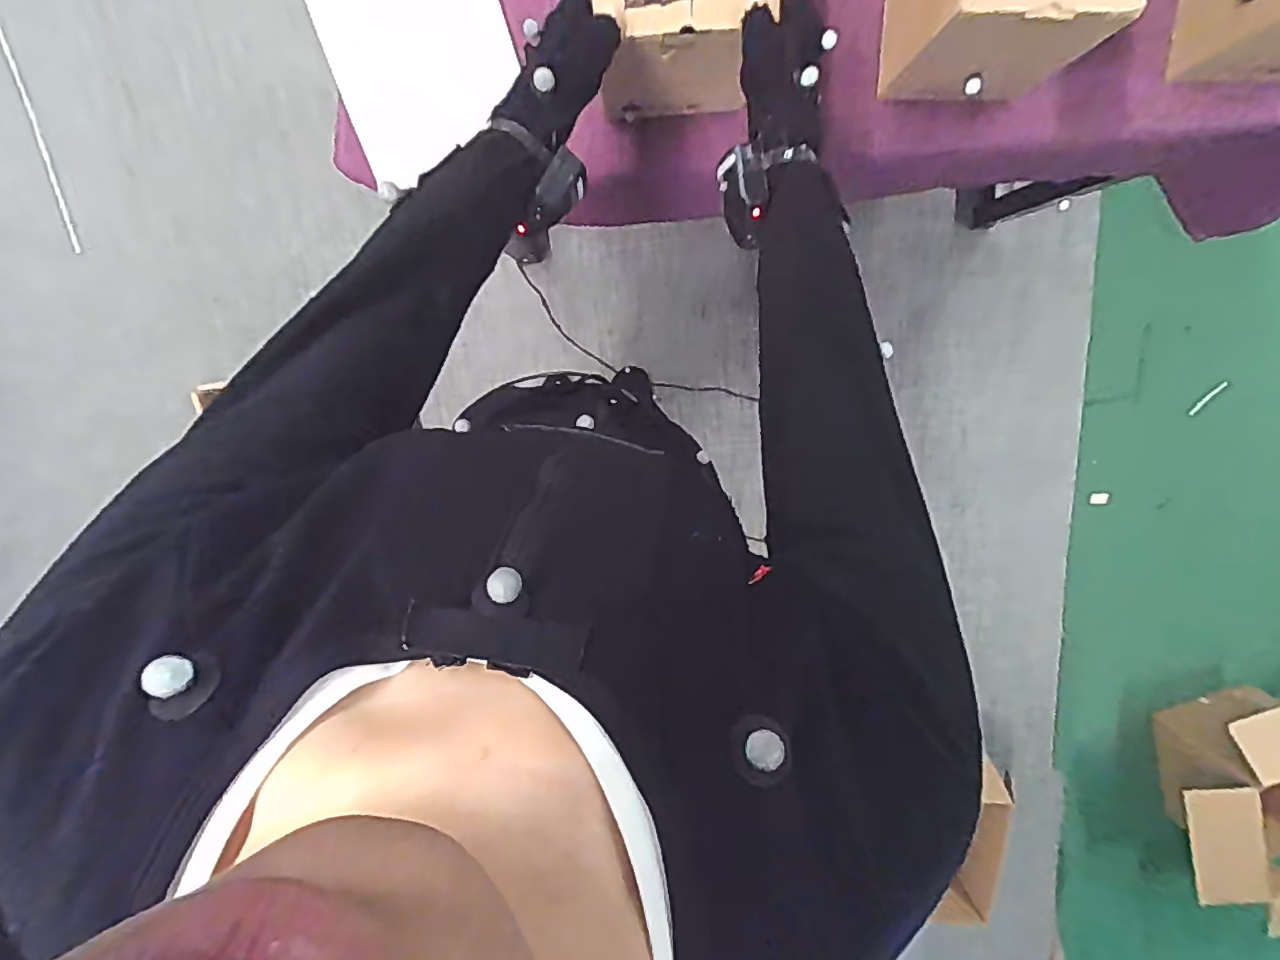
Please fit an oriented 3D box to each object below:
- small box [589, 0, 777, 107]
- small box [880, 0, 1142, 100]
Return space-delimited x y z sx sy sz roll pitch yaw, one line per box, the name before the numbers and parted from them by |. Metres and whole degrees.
small box | 0.036 -0.493 0.531 0.168 0.176 0.179 -3 104 0
small box | 0.358 -0.514 0.534 0.168 0.176 0.179 0 104 -1
